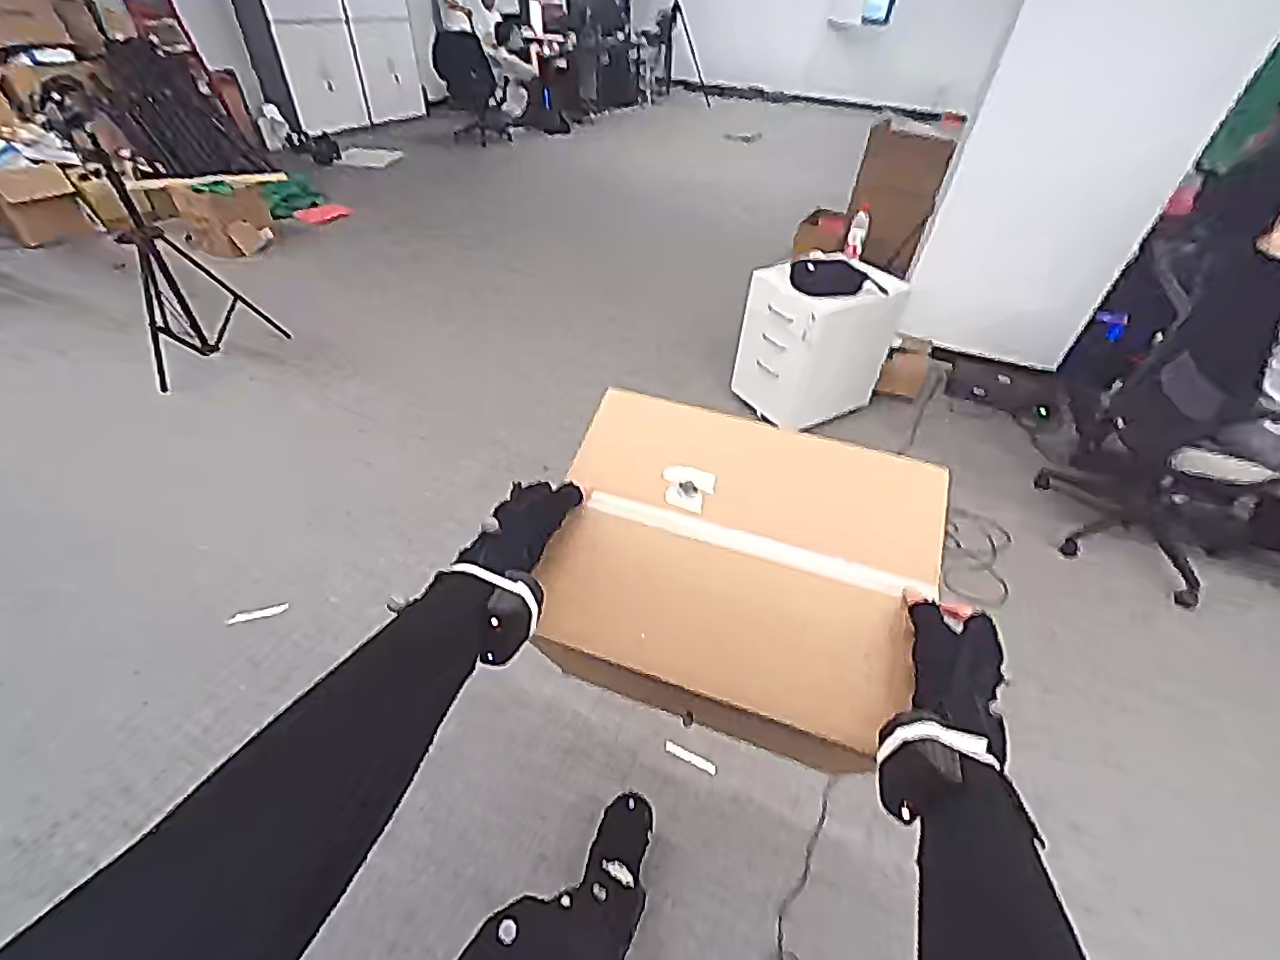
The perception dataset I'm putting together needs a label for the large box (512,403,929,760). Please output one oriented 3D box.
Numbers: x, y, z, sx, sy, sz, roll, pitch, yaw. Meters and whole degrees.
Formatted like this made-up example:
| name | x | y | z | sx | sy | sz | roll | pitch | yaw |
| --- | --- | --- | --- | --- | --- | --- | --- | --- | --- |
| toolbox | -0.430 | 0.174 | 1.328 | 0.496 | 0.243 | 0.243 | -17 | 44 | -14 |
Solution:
| name | x | y | z | sx | sy | sz | roll | pitch | yaw |
| --- | --- | --- | --- | --- | --- | --- | --- | --- | --- |
| large box | 0.110 | 0.145 | 0.723 | 0.408 | 0.320 | 0.320 | 15 | 62 | 13 |
